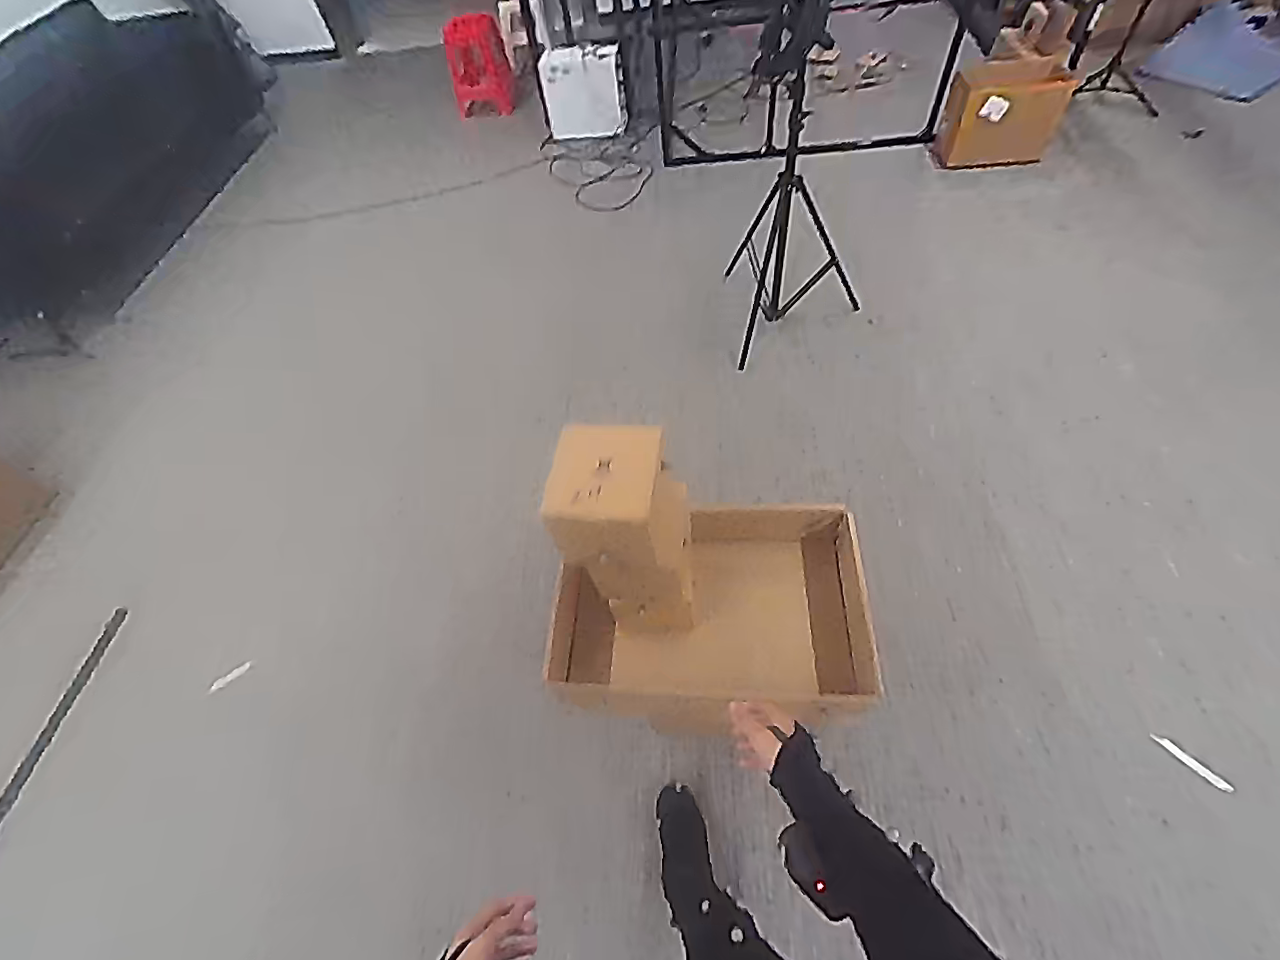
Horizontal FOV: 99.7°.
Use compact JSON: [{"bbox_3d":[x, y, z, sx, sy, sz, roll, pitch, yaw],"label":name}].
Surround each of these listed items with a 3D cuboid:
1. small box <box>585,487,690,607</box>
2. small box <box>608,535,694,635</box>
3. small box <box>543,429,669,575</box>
[{"bbox_3d":[0.005,0.128,1.030,0.168,0.176,0.179,3,56,10],"label":"small box"},{"bbox_3d":[0.030,0.221,1.164,0.168,0.176,0.179,-3,55,7],"label":"small box"},{"bbox_3d":[-0.045,0.038,0.899,0.168,0.176,0.179,3,57,10],"label":"small box"}]
